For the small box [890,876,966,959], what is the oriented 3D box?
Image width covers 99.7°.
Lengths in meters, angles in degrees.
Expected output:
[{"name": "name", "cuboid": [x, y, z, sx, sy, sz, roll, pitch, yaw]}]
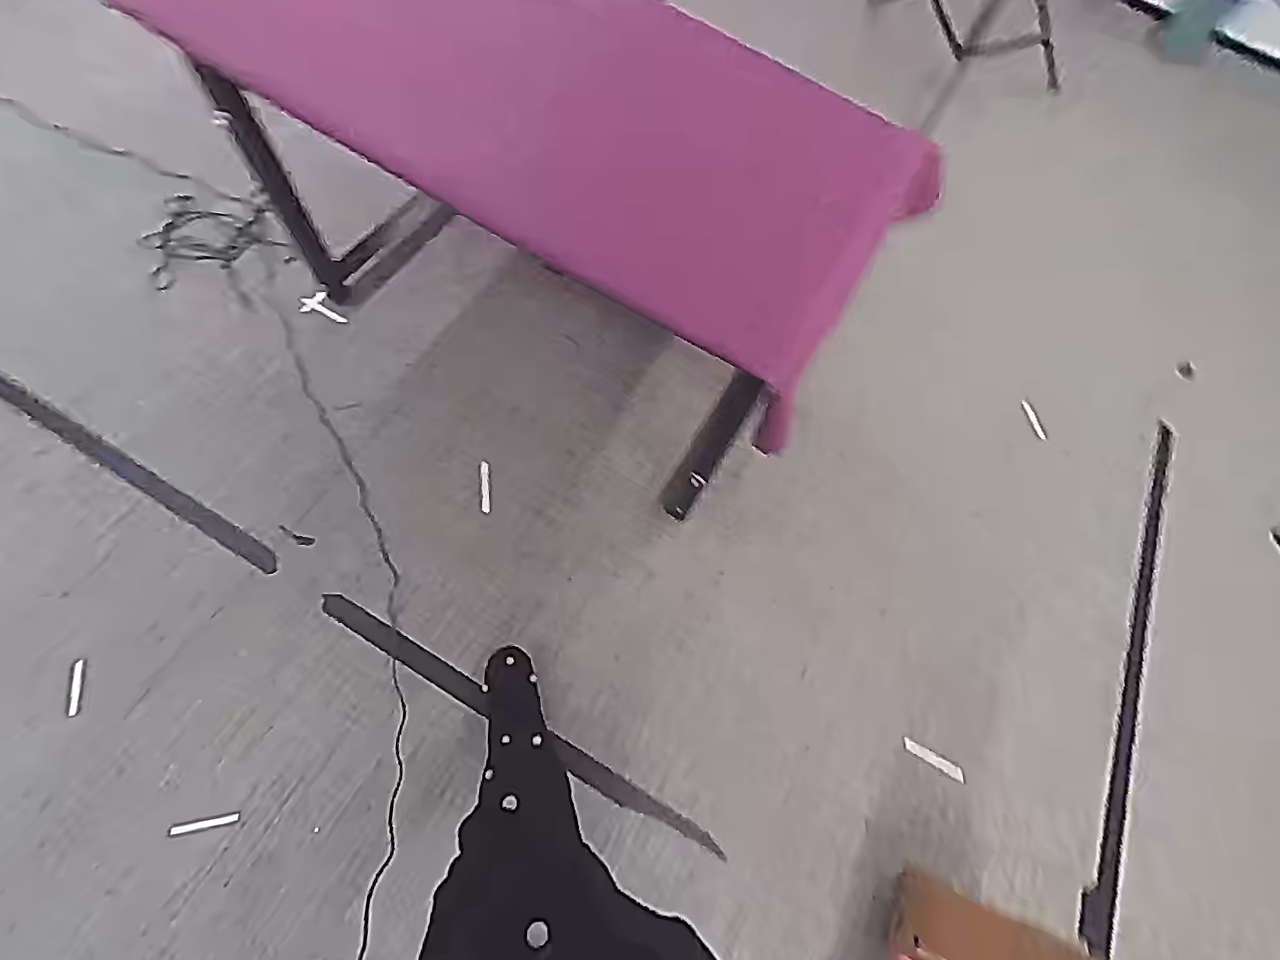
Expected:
[{"name": "small box", "cuboid": [0.632, 0.925, 1.067, 0.179, 0.176, 0.168, 30, 69, 3]}]

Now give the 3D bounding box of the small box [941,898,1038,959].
[{"name": "small box", "cuboid": [0.644, 0.864, 0.917, 0.168, 0.176, 0.179, 30, 69, 5]}]

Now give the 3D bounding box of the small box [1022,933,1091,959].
[{"name": "small box", "cuboid": [0.665, 0.804, 0.765, 0.168, 0.176, 0.179, 31, 69, 5]}]
